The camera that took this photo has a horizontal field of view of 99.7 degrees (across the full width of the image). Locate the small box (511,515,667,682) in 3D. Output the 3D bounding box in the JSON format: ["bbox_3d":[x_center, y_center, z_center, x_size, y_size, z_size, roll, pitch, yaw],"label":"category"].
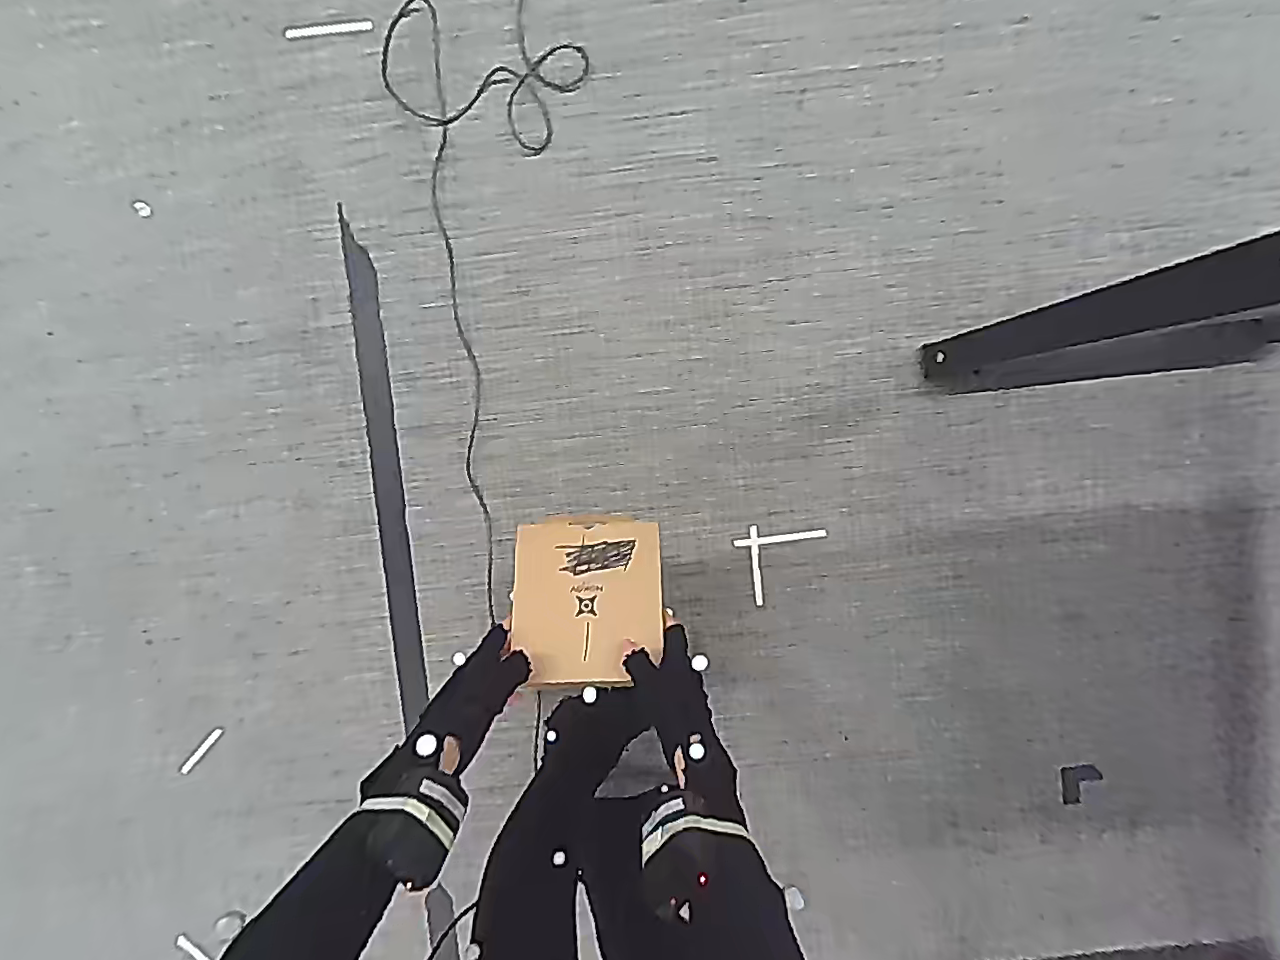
[{"bbox_3d":[-0.056,0.152,0.665,0.168,0.176,0.179,0,68,-1],"label":"small box"}]
